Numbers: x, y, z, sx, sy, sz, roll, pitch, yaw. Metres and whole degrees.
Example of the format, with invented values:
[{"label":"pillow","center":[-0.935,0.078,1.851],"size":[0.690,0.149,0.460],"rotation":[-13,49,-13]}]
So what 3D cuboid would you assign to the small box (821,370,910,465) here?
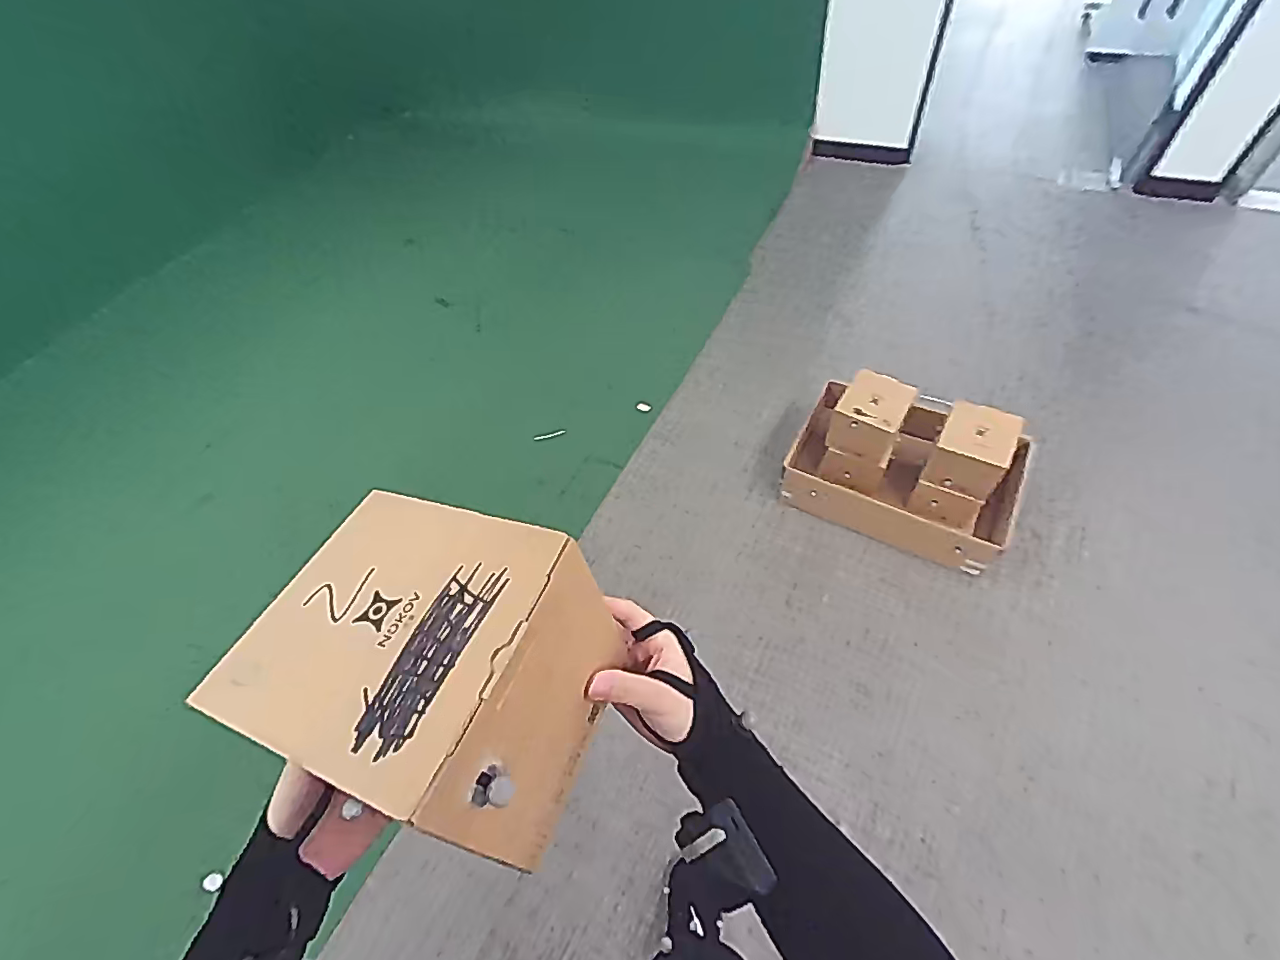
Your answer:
[{"label":"small box","center":[0.639,-0.178,1.555],"size":[0.168,0.176,0.179],"rotation":[28,65,23]}]

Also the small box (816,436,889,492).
[{"label":"small box","center":[0.662,-0.088,1.691],"size":[0.168,0.176,0.179],"rotation":[22,64,19]}]

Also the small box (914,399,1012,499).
[{"label":"small box","center":[0.867,-0.081,1.465],"size":[0.168,0.176,0.179],"rotation":[23,65,23]}]

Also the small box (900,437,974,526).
[{"label":"small box","center":[0.888,0.009,1.600],"size":[0.168,0.176,0.179],"rotation":[22,64,21]}]
